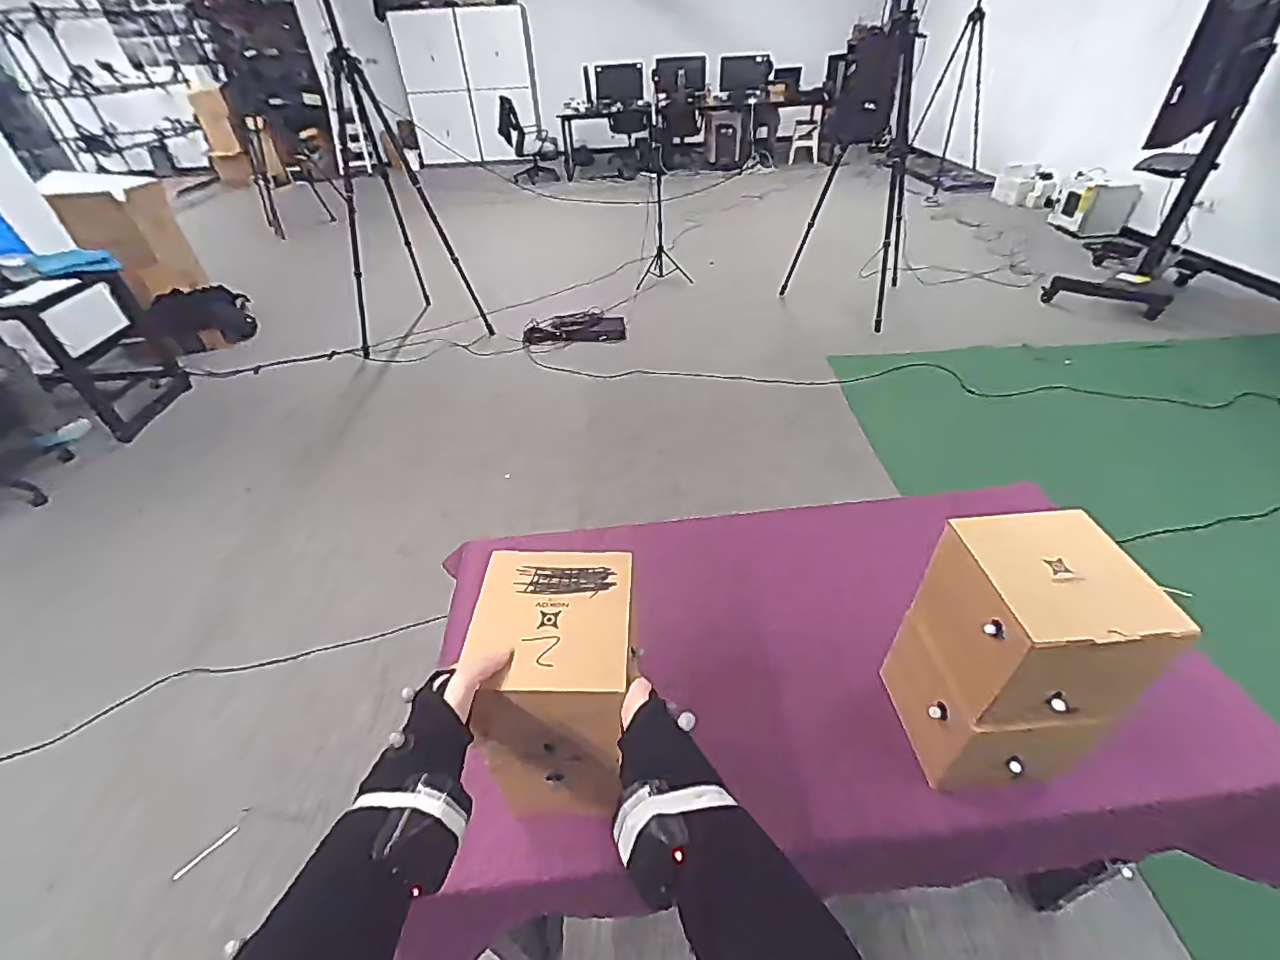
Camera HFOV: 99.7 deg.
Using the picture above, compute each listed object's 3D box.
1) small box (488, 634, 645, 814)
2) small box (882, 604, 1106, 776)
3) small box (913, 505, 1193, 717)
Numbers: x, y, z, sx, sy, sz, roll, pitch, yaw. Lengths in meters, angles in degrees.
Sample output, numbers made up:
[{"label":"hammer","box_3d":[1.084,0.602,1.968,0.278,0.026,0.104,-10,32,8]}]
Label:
[{"label":"small box","box_3d":[-0.086,0.329,0.727,0.179,0.176,0.168,-3,40,0]},{"label":"small box","box_3d":[0.459,0.283,0.738,0.168,0.176,0.179,-5,40,-2]},{"label":"small box","box_3d":[0.455,0.153,0.639,0.168,0.176,0.179,-5,41,-1]}]
